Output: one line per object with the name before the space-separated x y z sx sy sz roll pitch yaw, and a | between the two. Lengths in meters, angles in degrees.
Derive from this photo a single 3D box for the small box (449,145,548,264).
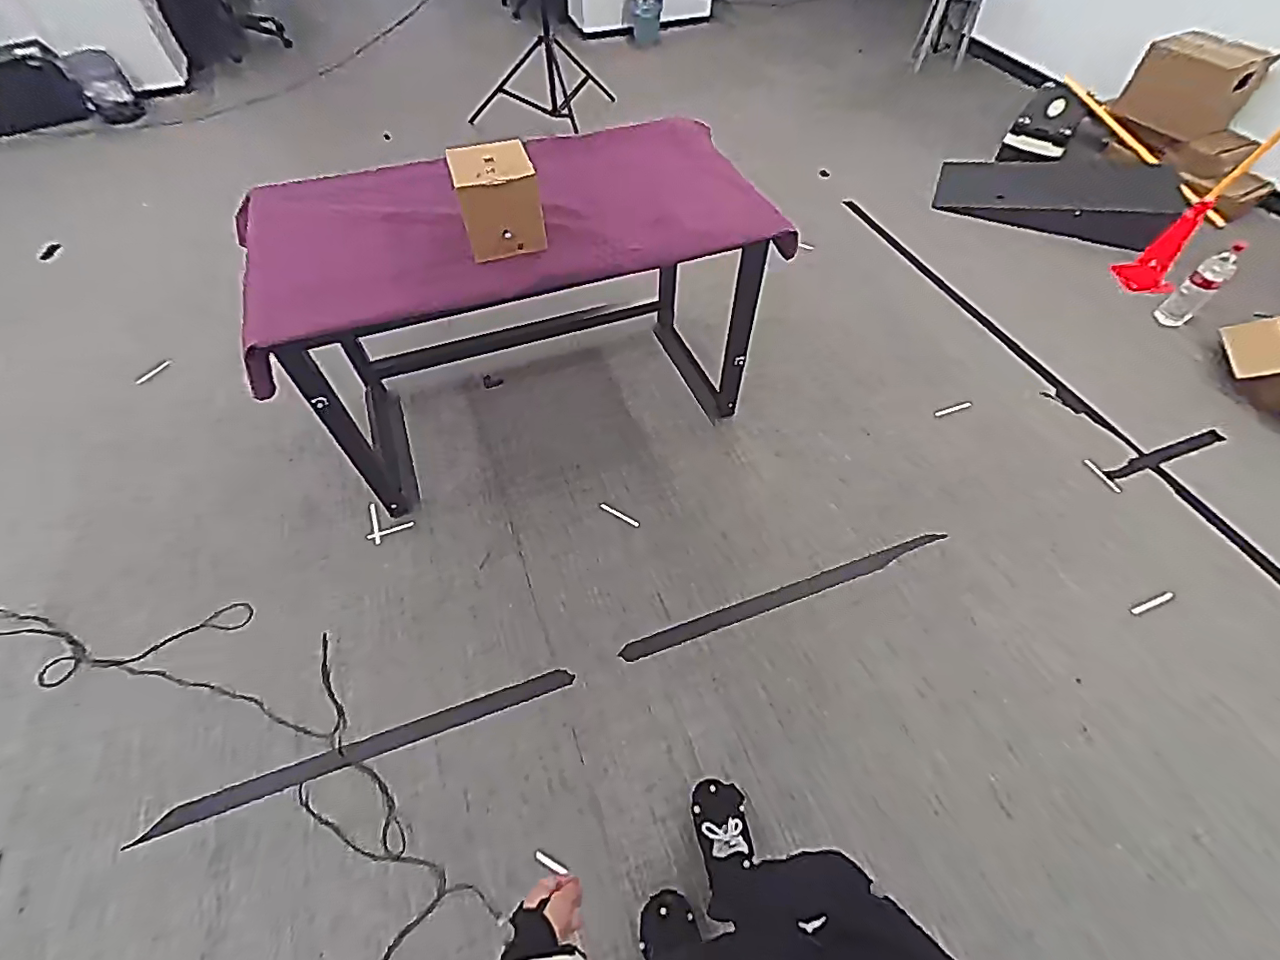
small box | -0.313 -0.613 1.208 0.168 0.176 0.179 -16 56 -10
